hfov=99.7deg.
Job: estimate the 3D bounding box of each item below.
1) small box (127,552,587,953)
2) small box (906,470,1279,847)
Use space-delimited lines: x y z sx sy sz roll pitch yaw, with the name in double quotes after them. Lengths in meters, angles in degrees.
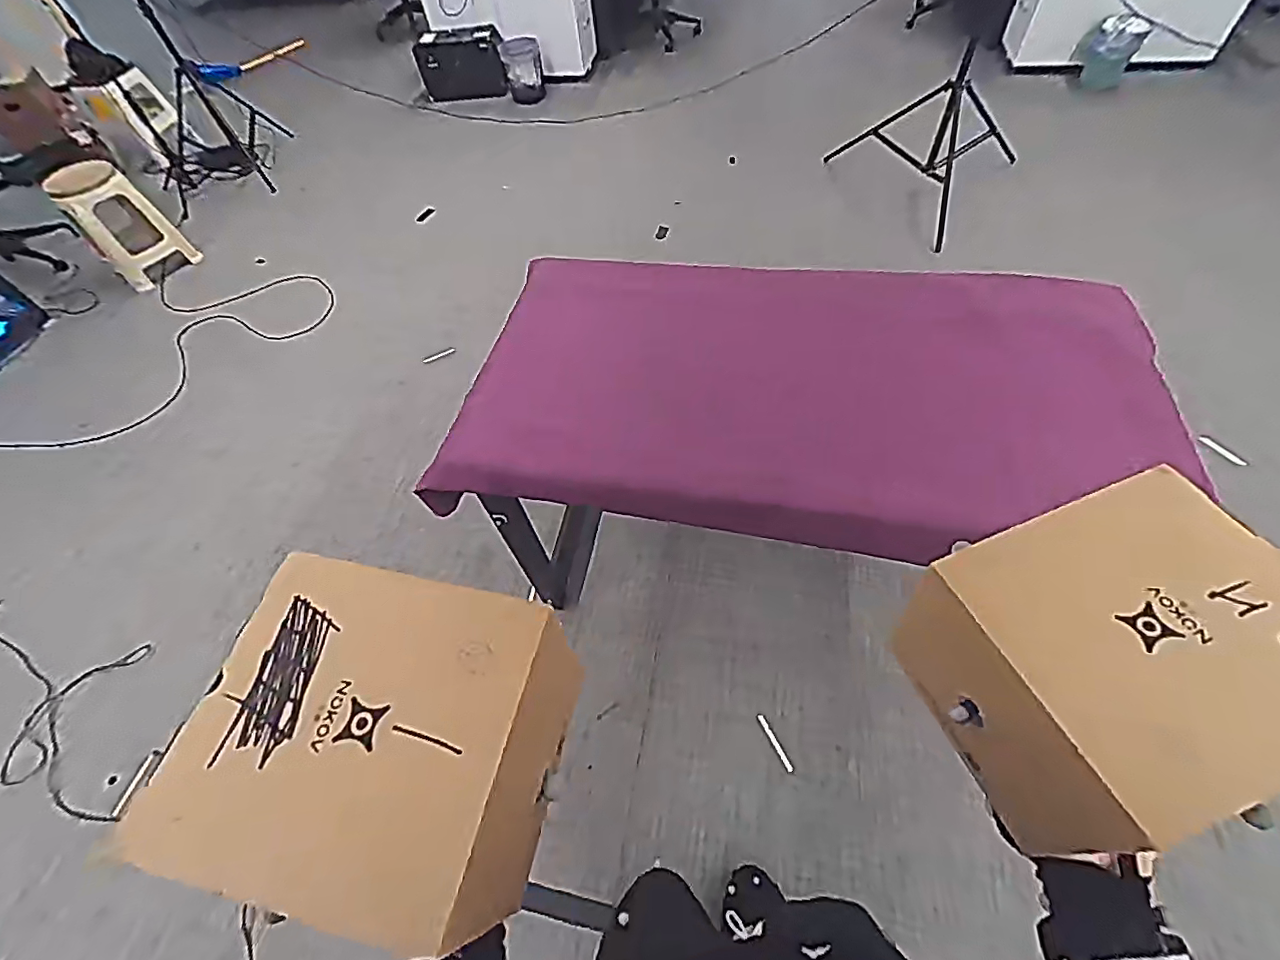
-0.145 0.169 0.357 0.179 0.176 0.168 11 59 8 "small box"
0.310 0.129 0.371 0.179 0.176 0.168 -21 53 -3 "small box"
